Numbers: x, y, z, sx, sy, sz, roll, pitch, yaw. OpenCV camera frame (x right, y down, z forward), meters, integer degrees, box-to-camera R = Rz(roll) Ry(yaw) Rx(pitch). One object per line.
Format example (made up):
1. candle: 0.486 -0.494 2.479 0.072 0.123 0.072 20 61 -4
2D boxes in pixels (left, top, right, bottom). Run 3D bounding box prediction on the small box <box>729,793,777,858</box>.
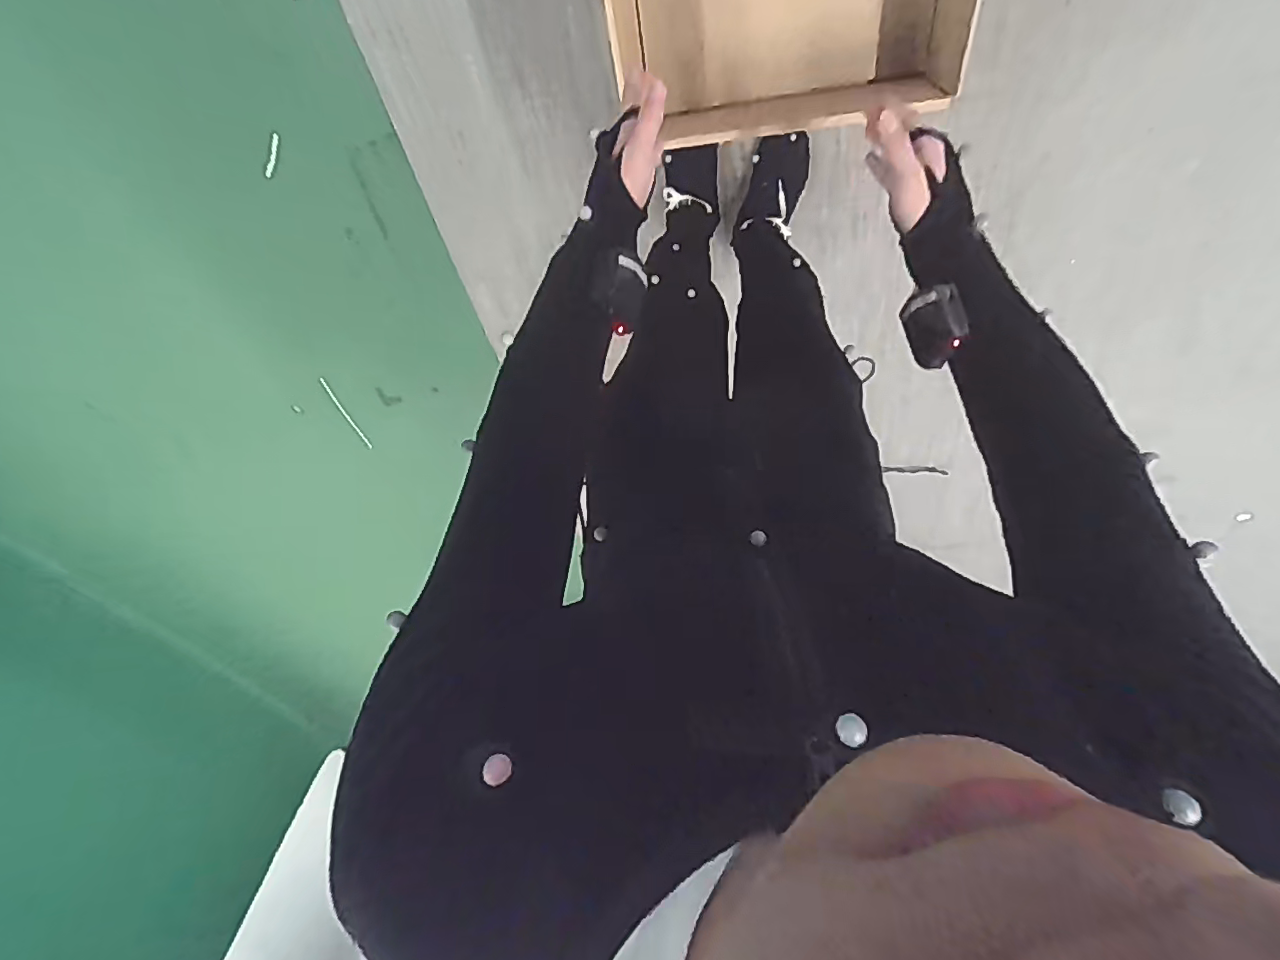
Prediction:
1. small box: 0.426 1.305 2.044 0.168 0.176 0.179 -4 135 16
